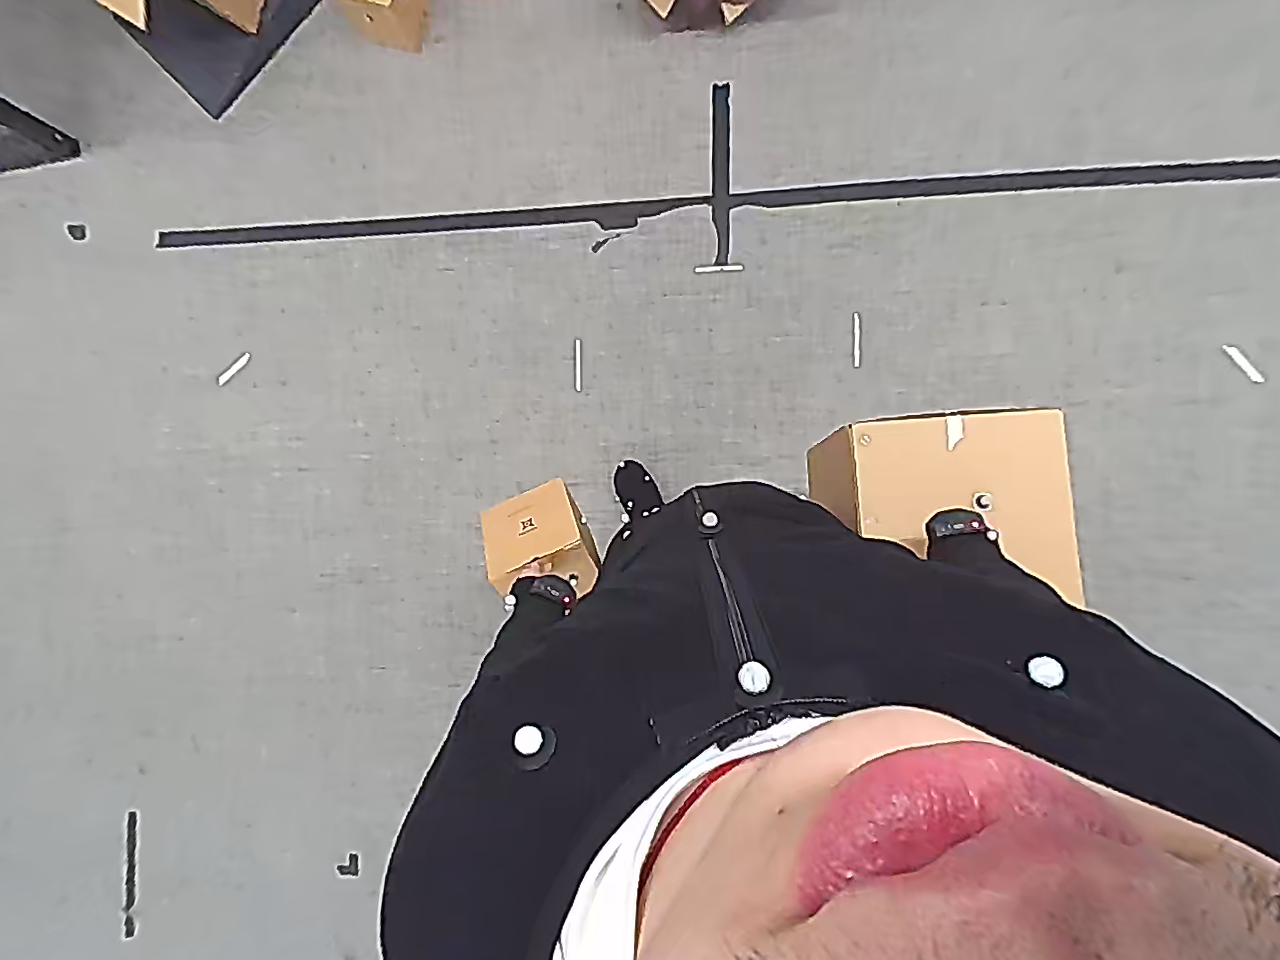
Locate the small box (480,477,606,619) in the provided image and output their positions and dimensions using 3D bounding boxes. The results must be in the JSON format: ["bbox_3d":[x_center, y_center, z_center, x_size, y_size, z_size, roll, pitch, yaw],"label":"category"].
[{"bbox_3d":[-0.177,0.132,0.999,0.168,0.179,0.176,-23,133,-3],"label":"small box"}]
